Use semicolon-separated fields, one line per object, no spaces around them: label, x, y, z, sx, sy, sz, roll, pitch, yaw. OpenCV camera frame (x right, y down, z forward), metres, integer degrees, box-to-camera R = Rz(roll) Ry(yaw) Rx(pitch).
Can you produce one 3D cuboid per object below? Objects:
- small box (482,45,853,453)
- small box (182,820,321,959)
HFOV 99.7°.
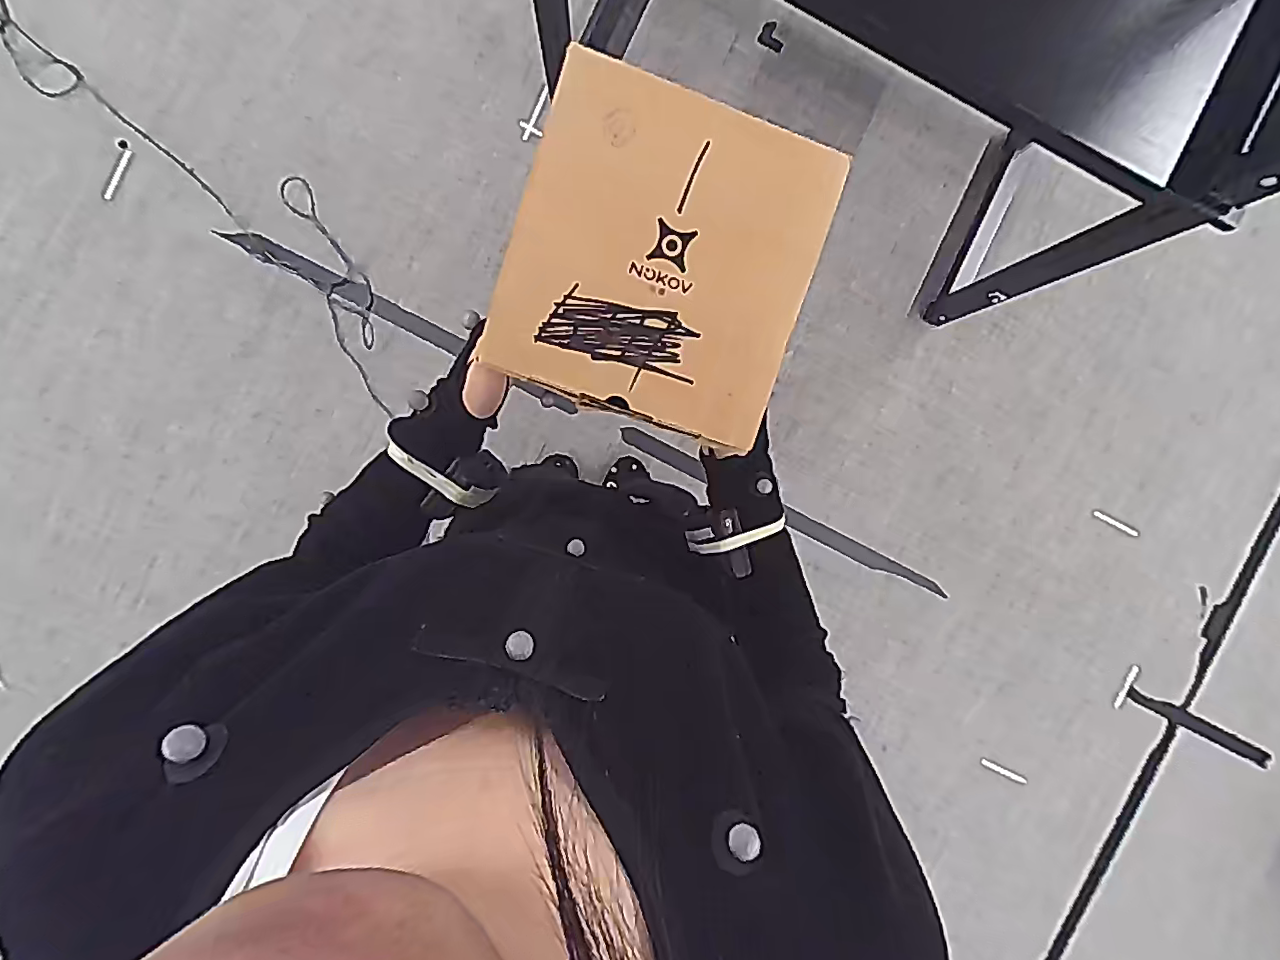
small box;0.010;-0.131;0.378;0.168;0.176;0.179;18;95;-7
small box;-0.883;0.943;1.250;0.168;0.176;0.179;29;90;-5
